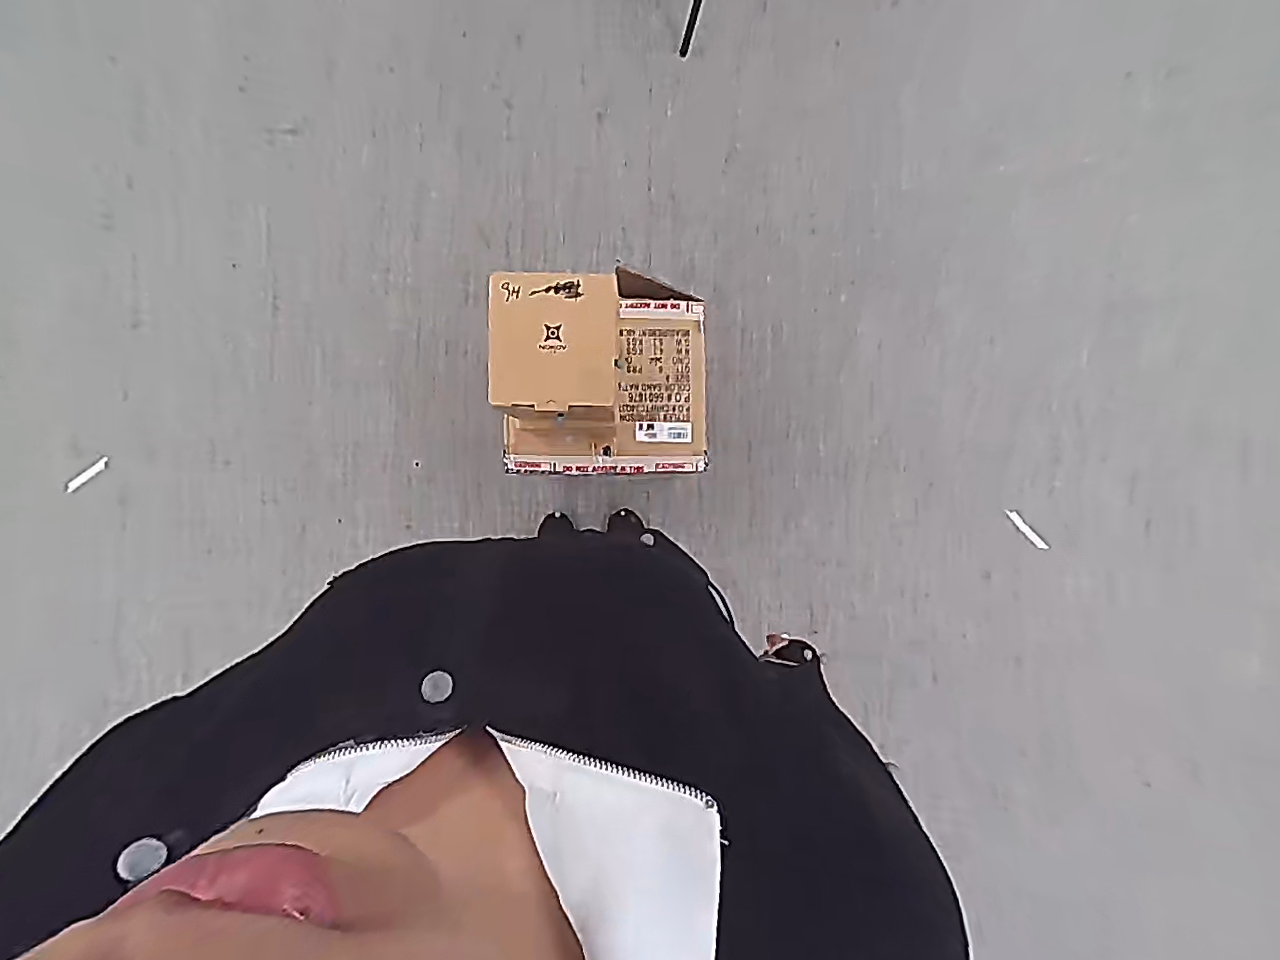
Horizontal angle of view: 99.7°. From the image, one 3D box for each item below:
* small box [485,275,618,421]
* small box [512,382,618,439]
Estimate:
[{"bbox_3d":[-0.117,-0.177,0.775,0.168,0.176,0.179,1,91,-1],"label":"small box"},{"bbox_3d":[-0.124,-0.165,0.939,0.168,0.176,0.179,-1,91,-1],"label":"small box"}]
